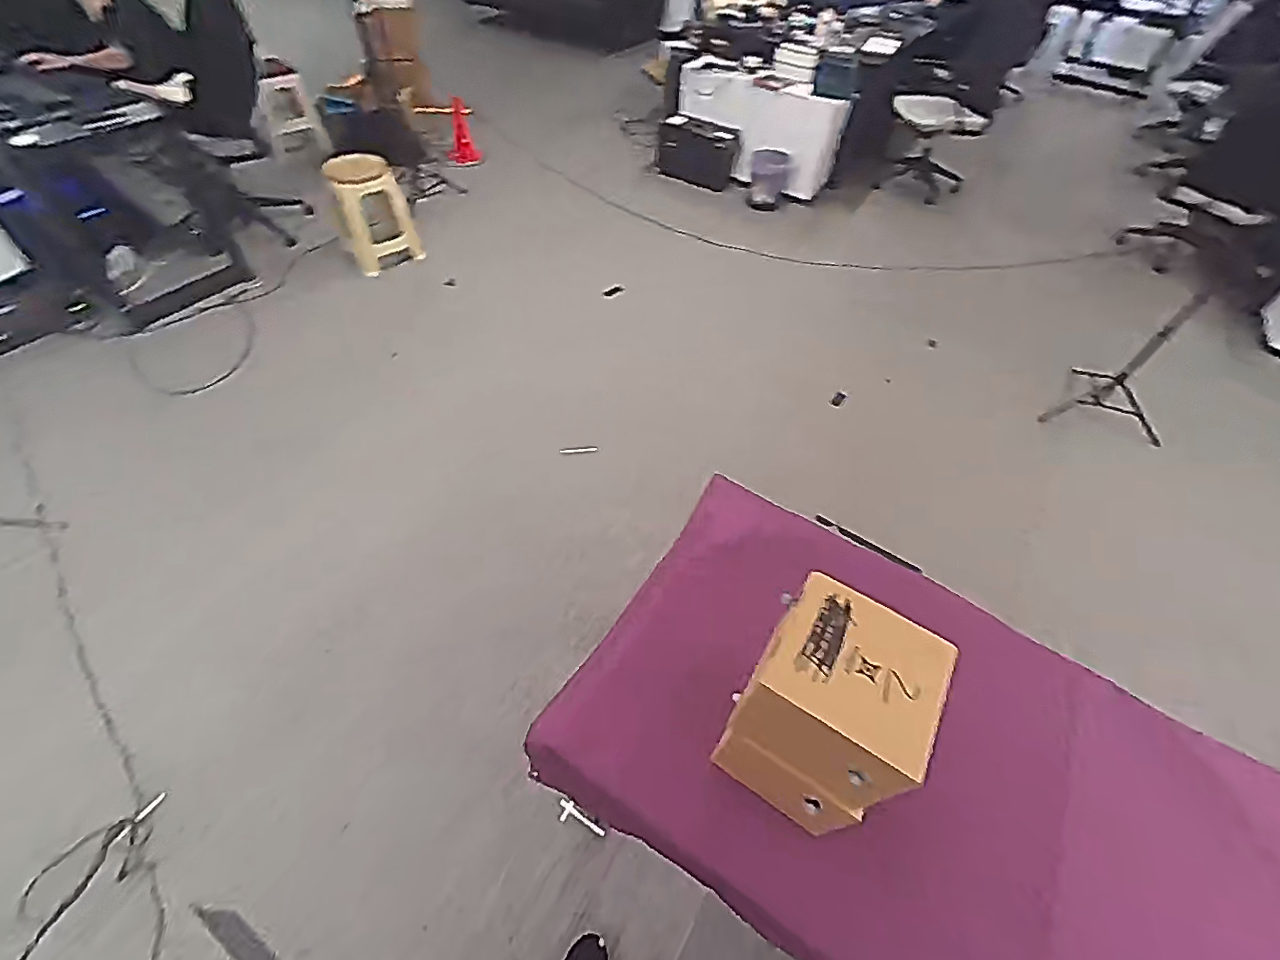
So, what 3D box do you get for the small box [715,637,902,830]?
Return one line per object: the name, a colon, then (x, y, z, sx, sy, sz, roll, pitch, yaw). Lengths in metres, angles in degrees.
small box: (0.229, 0.362, 0.765, 0.179, 0.176, 0.168, 31, 55, 18)
